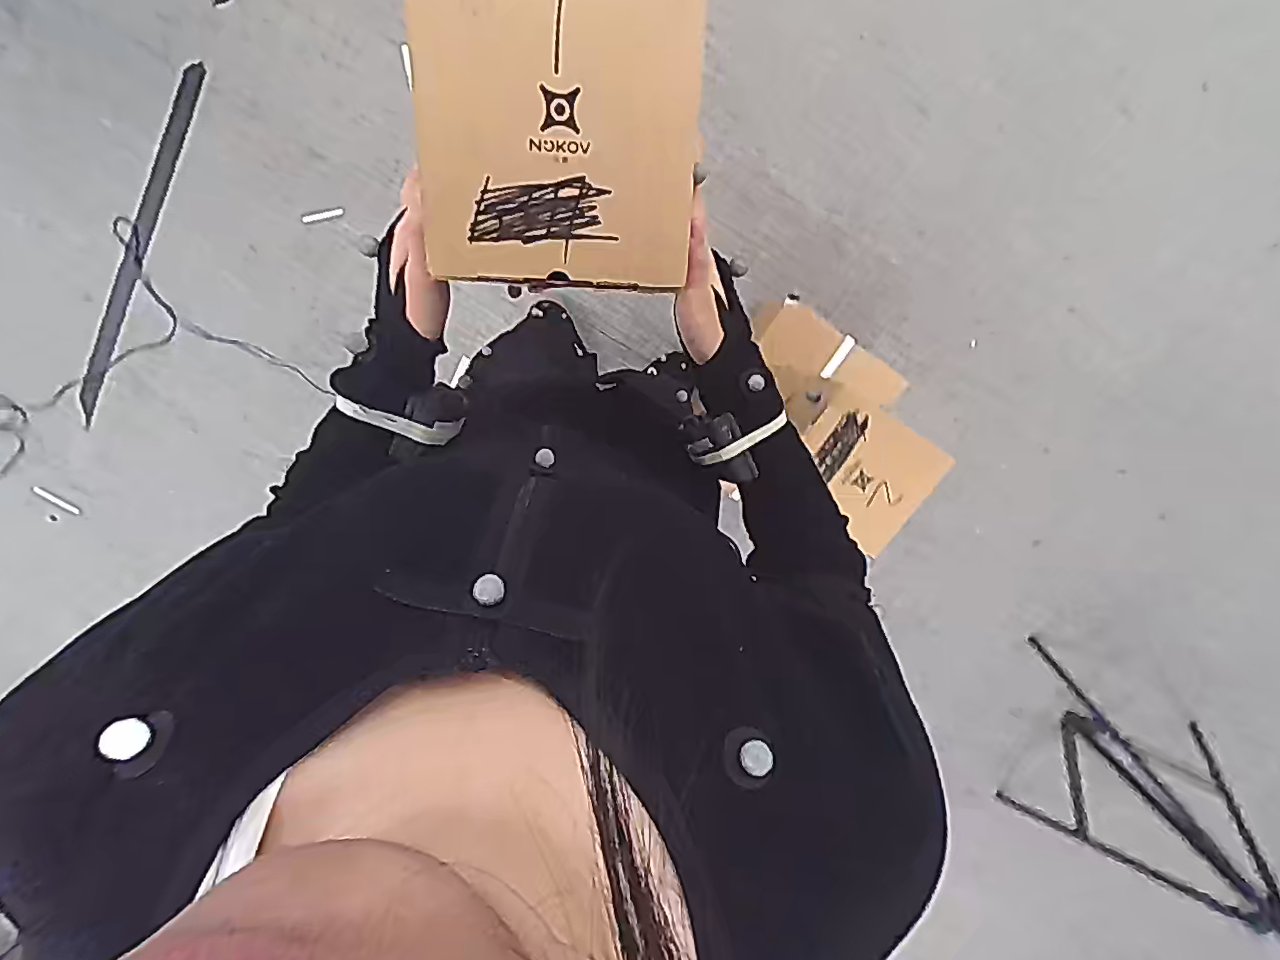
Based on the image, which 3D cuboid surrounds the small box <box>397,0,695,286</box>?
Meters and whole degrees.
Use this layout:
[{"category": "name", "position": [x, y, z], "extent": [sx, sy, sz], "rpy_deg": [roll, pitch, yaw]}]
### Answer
[{"category": "small box", "position": [-0.056, -0.237, 0.391], "extent": [0.168, 0.176, 0.179], "rpy_deg": [1, 109, -3]}]

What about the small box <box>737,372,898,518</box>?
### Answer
[{"category": "small box", "position": [0.283, -0.069, 0.908], "extent": [0.179, 0.176, 0.168], "rpy_deg": [32, 105, -4]}]

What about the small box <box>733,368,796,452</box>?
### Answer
[{"category": "small box", "position": [0.297, -0.105, 1.065], "extent": [0.168, 0.176, 0.179], "rpy_deg": [31, 106, -5]}]
